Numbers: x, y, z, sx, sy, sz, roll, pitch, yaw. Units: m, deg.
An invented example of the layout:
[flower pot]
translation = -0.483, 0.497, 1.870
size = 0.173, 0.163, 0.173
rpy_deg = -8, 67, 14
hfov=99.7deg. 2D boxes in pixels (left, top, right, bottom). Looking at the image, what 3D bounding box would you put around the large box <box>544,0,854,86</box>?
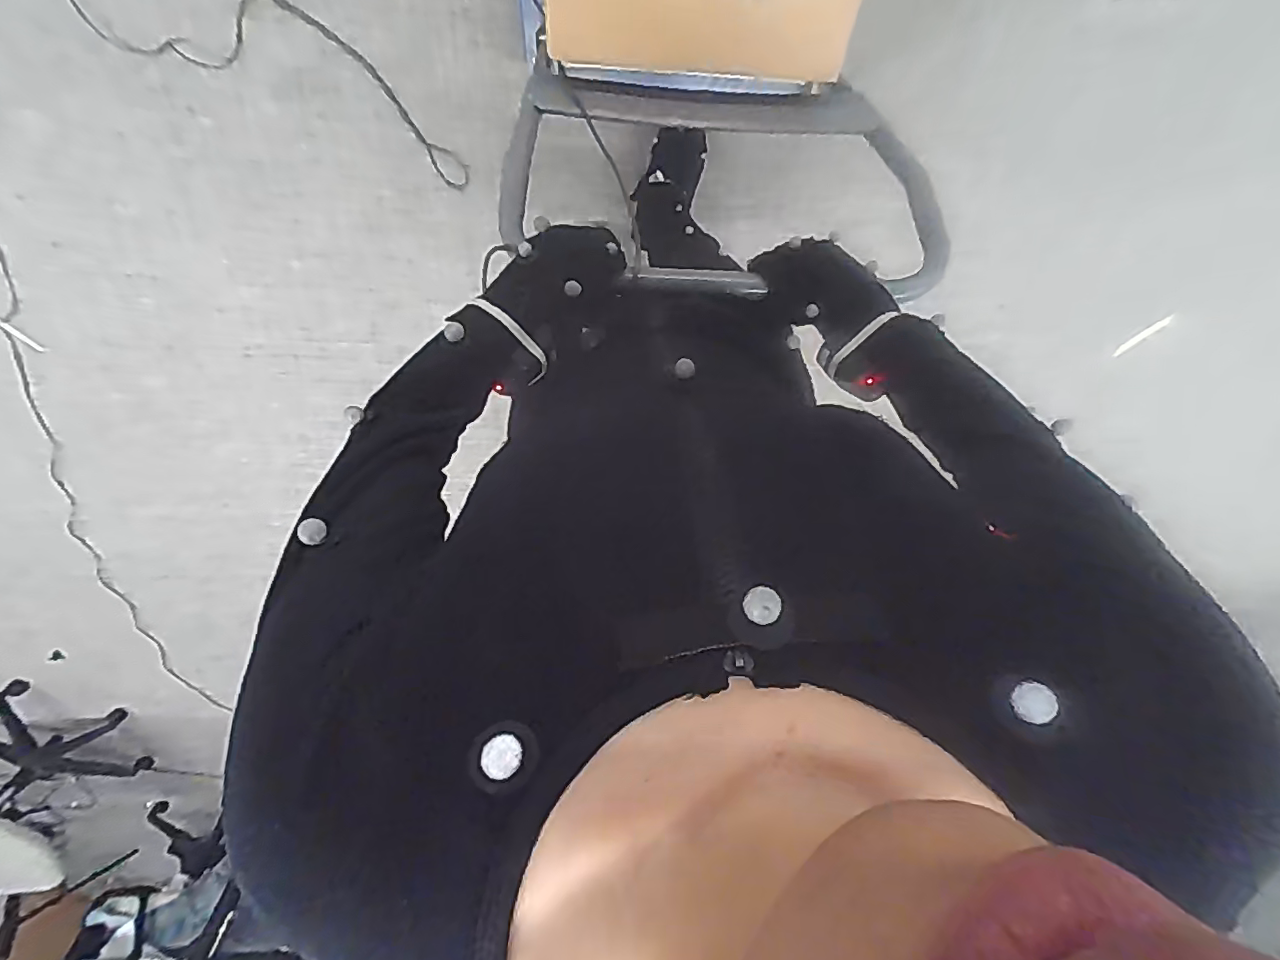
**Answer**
[large box]
translation = 0.072, -0.765, 0.732
size = 0.408, 0.320, 0.320
rpy_deg = 1, 139, -5
